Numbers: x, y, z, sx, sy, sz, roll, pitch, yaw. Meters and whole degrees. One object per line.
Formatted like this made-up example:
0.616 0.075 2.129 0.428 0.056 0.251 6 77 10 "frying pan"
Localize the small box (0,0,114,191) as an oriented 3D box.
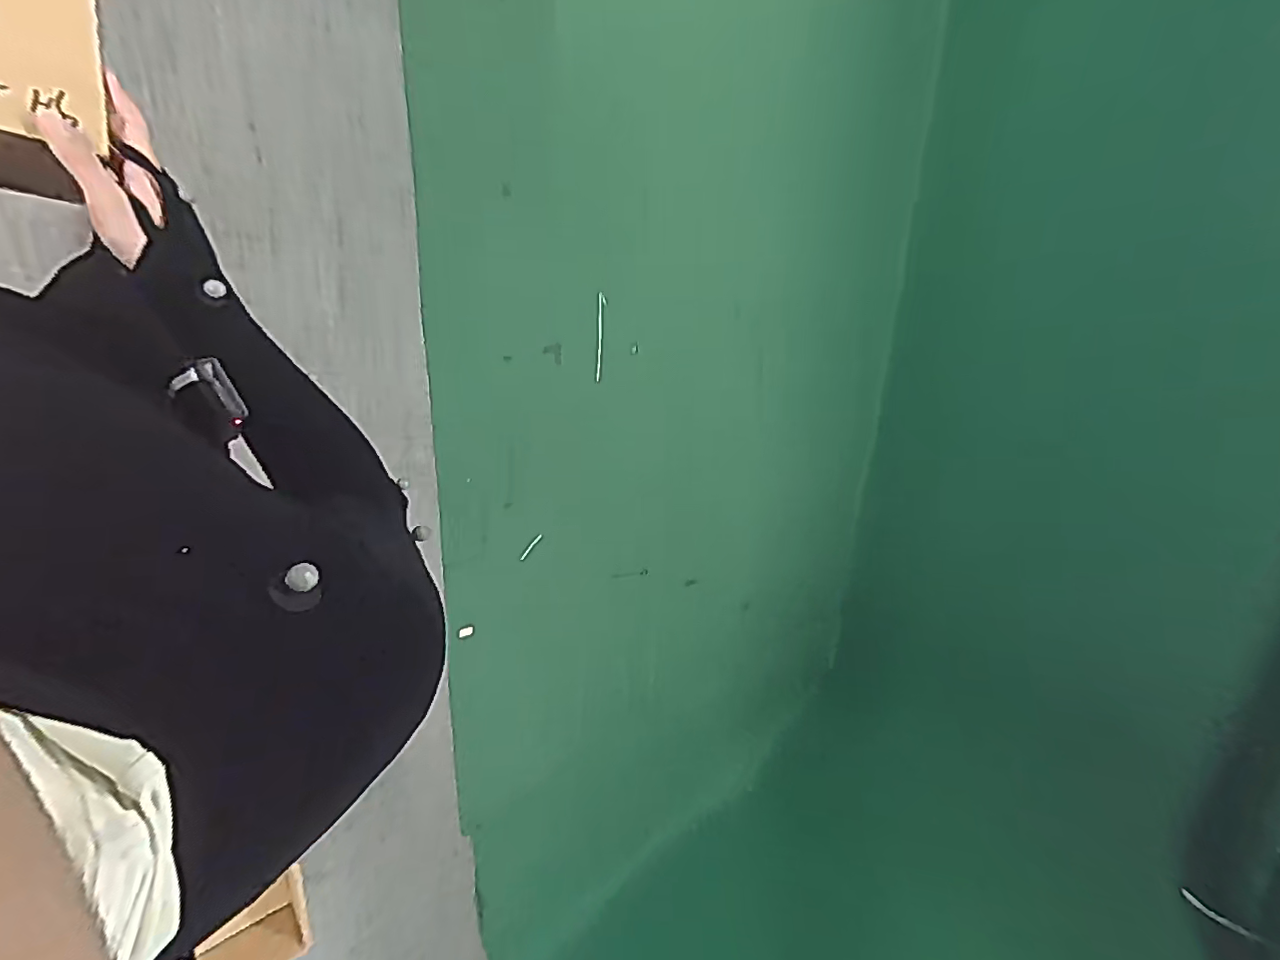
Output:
-0.525 -0.351 0.406 0.168 0.176 0.179 -7 100 -48 "small box"
